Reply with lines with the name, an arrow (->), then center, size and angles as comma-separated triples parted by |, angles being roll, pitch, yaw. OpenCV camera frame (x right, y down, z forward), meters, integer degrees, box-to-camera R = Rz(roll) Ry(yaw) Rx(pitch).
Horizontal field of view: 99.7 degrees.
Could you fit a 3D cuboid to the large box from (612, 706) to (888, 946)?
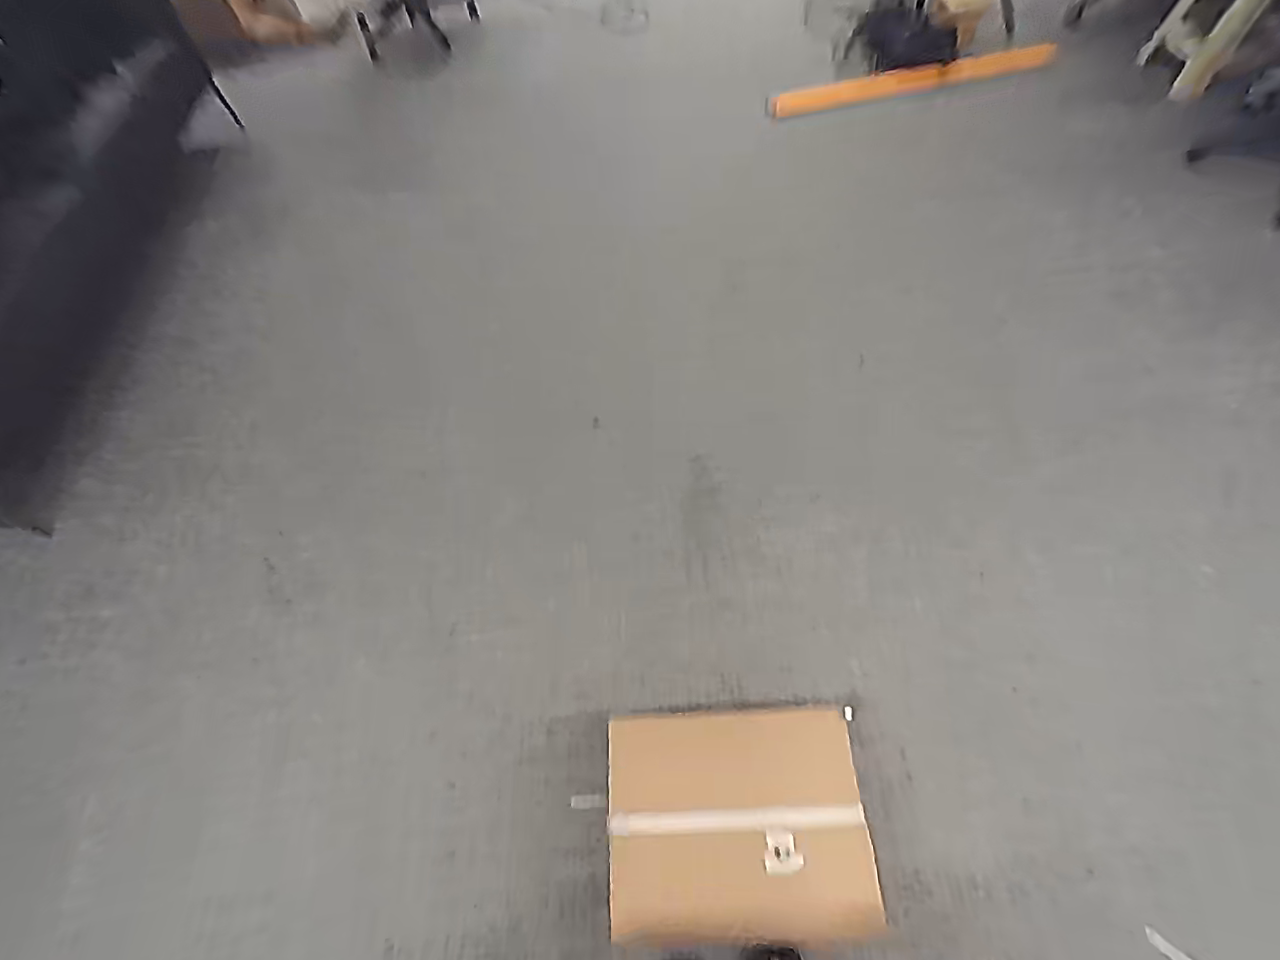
large box -> 0.167, 0.608, 0.987 | 0.408, 0.320, 0.320 | -4, 61, 3
